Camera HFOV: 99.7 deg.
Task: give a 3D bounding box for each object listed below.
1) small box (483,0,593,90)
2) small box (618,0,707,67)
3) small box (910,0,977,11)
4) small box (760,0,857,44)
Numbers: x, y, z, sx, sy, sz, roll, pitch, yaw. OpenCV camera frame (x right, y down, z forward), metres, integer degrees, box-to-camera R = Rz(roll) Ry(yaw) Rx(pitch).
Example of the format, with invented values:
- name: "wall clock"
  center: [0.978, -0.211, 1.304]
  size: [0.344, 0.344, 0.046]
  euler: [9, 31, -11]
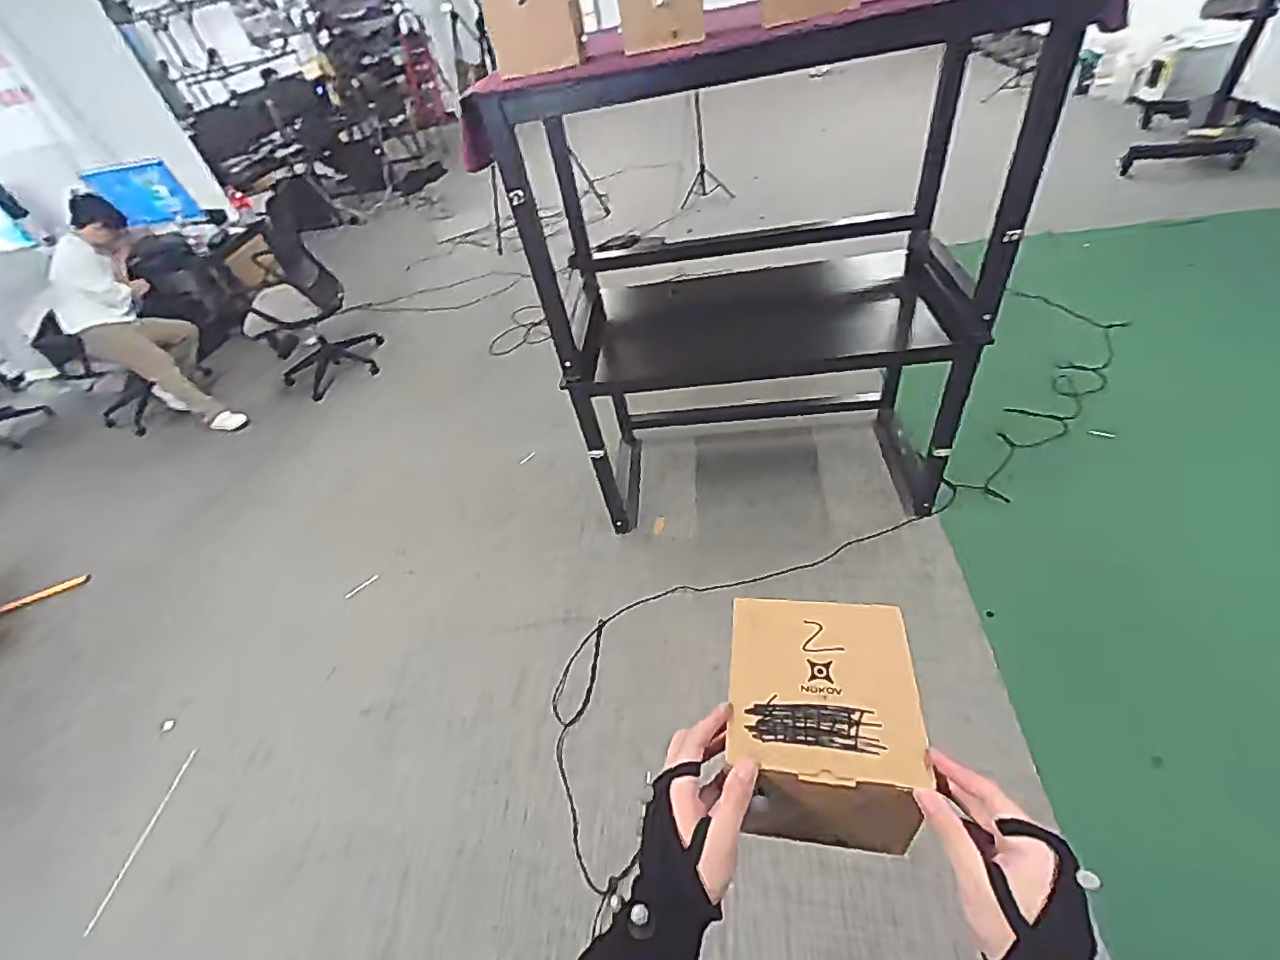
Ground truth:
- name: "small box"
  center: [-0.209, -0.948, 1.144]
  size: [0.179, 0.176, 0.168]
  euler: [-4, 44, 8]
- name: "small box"
  center: [0.048, -0.965, 1.101]
  size: [0.168, 0.176, 0.179]
  euler: [-4, 44, 9]
- name: "small box"
  center: [0.608, -0.998, 0.999]
  size: [0.179, 0.176, 0.168]
  euler: [-1, 46, 13]
- name: "small box"
  center: [0.326, -0.983, 1.054]
  size: [0.179, 0.176, 0.168]
  euler: [-4, 43, 11]
